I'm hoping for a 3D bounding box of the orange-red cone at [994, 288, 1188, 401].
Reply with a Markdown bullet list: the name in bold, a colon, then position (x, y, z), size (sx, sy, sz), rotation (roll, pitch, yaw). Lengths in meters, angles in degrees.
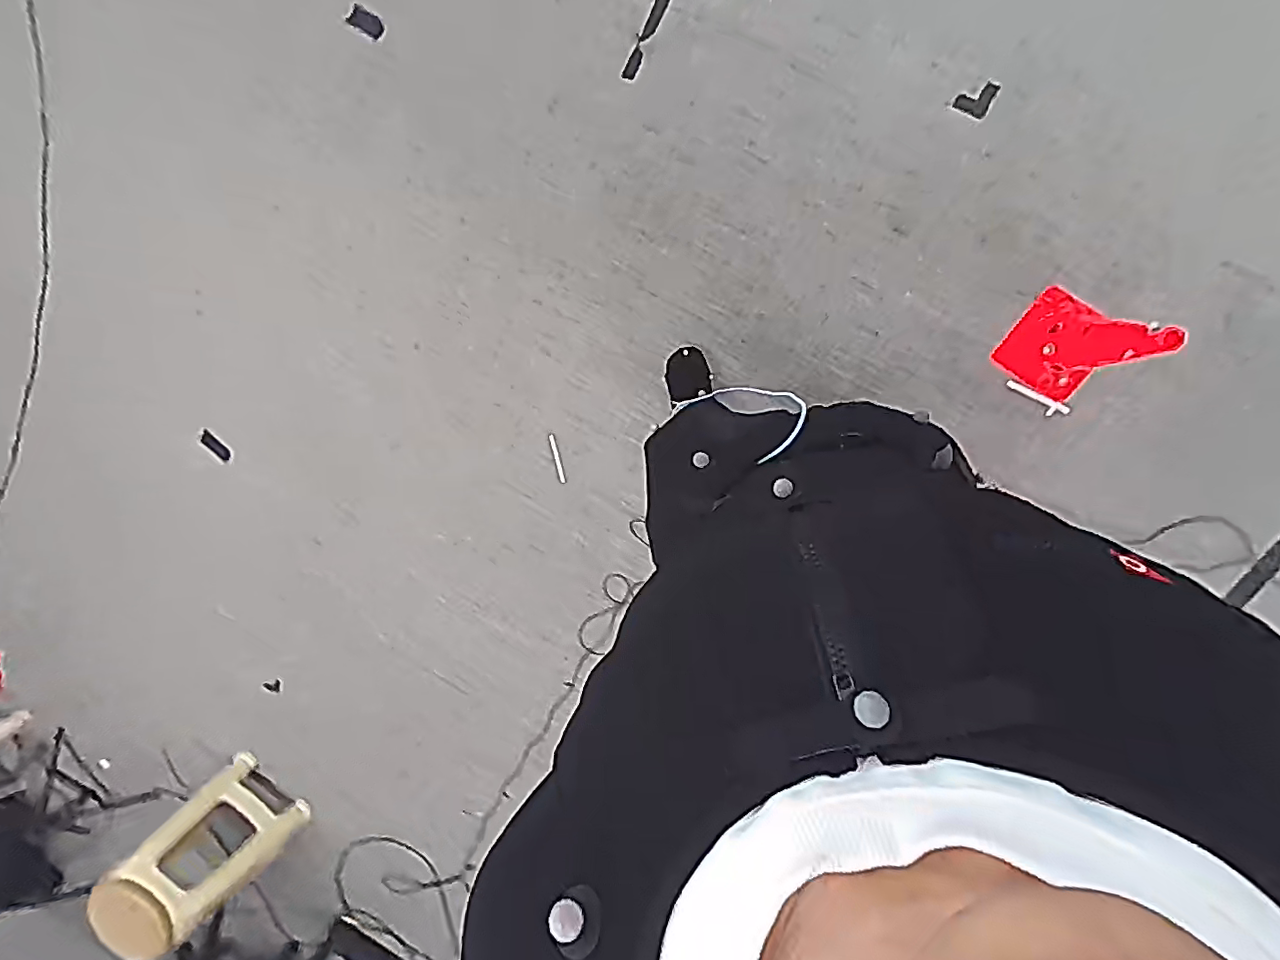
- **orange-red cone**: position (0.907, -0.270, 1.053), size (0.198, 0.360, 0.199), rotation (36, 105, 1)
